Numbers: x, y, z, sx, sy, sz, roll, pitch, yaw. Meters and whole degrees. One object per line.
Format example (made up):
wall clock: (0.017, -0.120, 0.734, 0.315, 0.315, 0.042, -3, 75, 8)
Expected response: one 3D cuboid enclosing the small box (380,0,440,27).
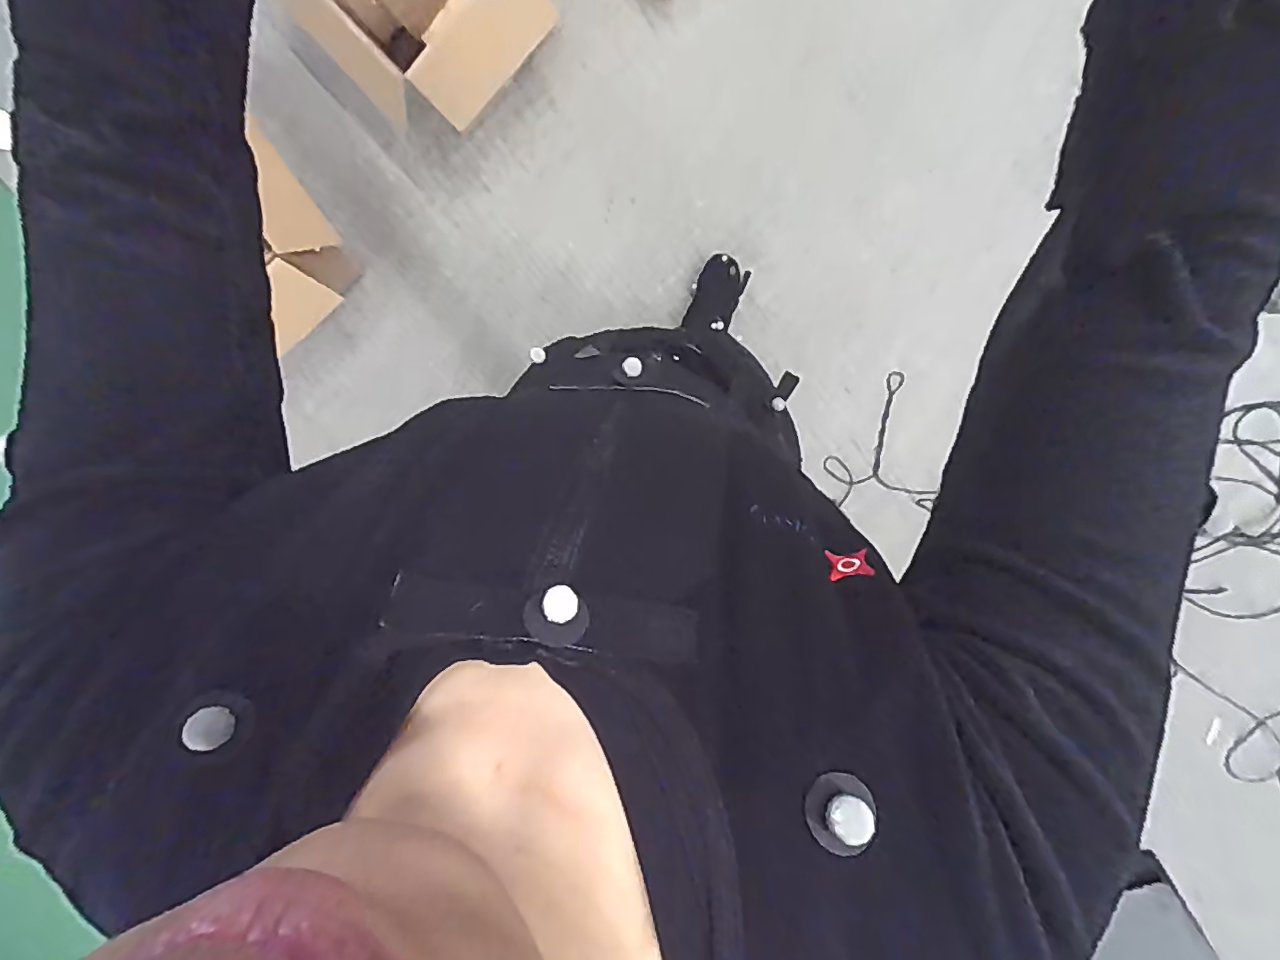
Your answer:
small box: (-0.450, -0.971, 0.969, 0.168, 0.176, 0.179, -42, 100, 13)
